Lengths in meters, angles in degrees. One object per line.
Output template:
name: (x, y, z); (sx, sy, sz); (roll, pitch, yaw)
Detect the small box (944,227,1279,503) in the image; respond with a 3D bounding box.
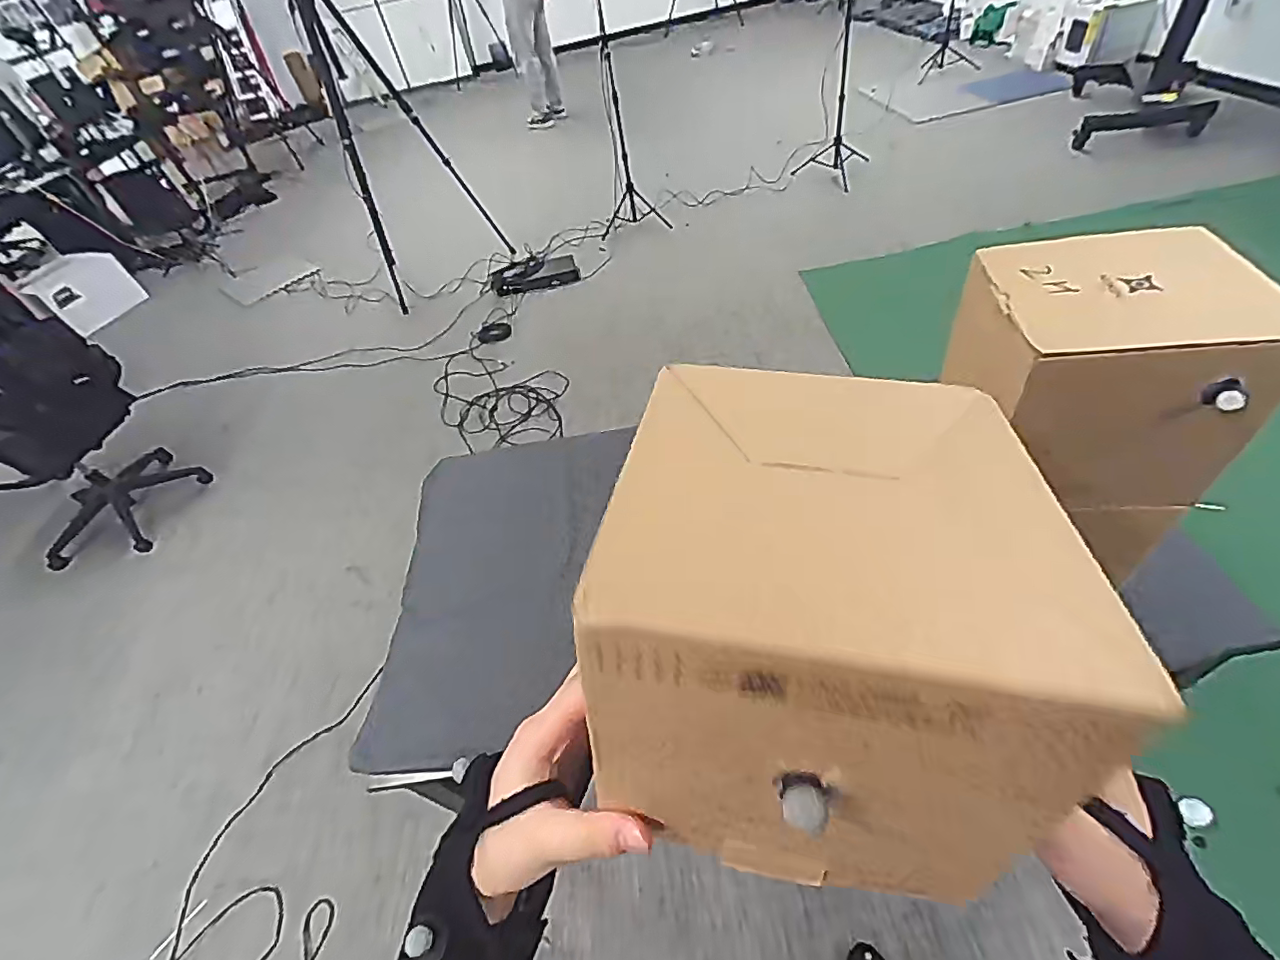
small box: (0.385, -0.092, 0.471); (0.179, 0.176, 0.168); (-2, 47, 14)

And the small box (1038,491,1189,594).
small box: (0.411, 0.021, 0.589); (0.179, 0.176, 0.168); (-3, 47, 12)
